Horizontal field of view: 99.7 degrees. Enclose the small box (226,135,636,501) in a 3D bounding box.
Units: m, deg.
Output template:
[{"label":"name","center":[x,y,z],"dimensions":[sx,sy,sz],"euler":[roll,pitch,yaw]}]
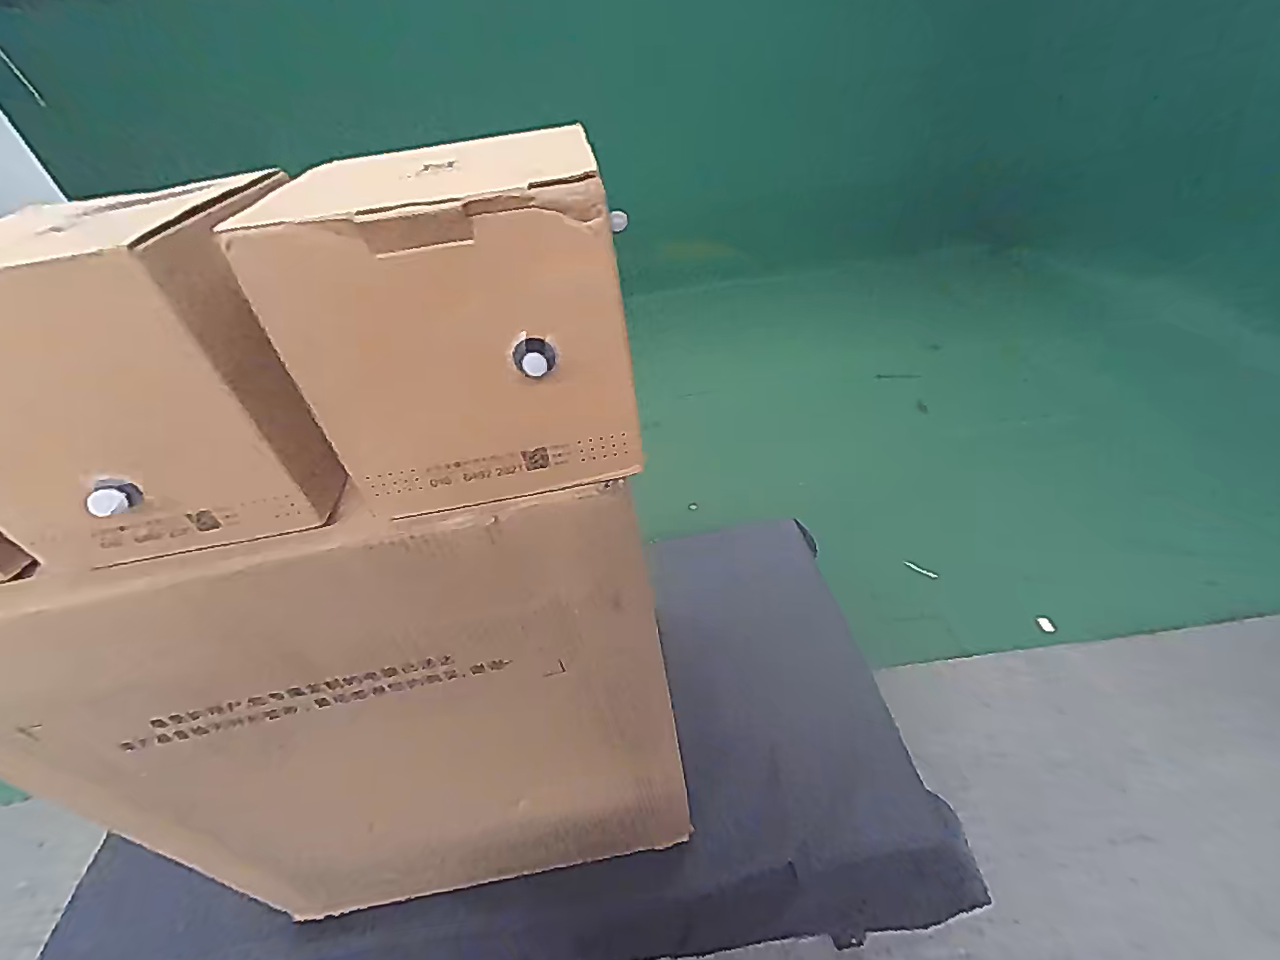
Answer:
[{"label":"small box","center":[-0.099,-0.101,0.344],"dimensions":[0.168,0.176,0.179],"euler":[-9,39,-4]}]
